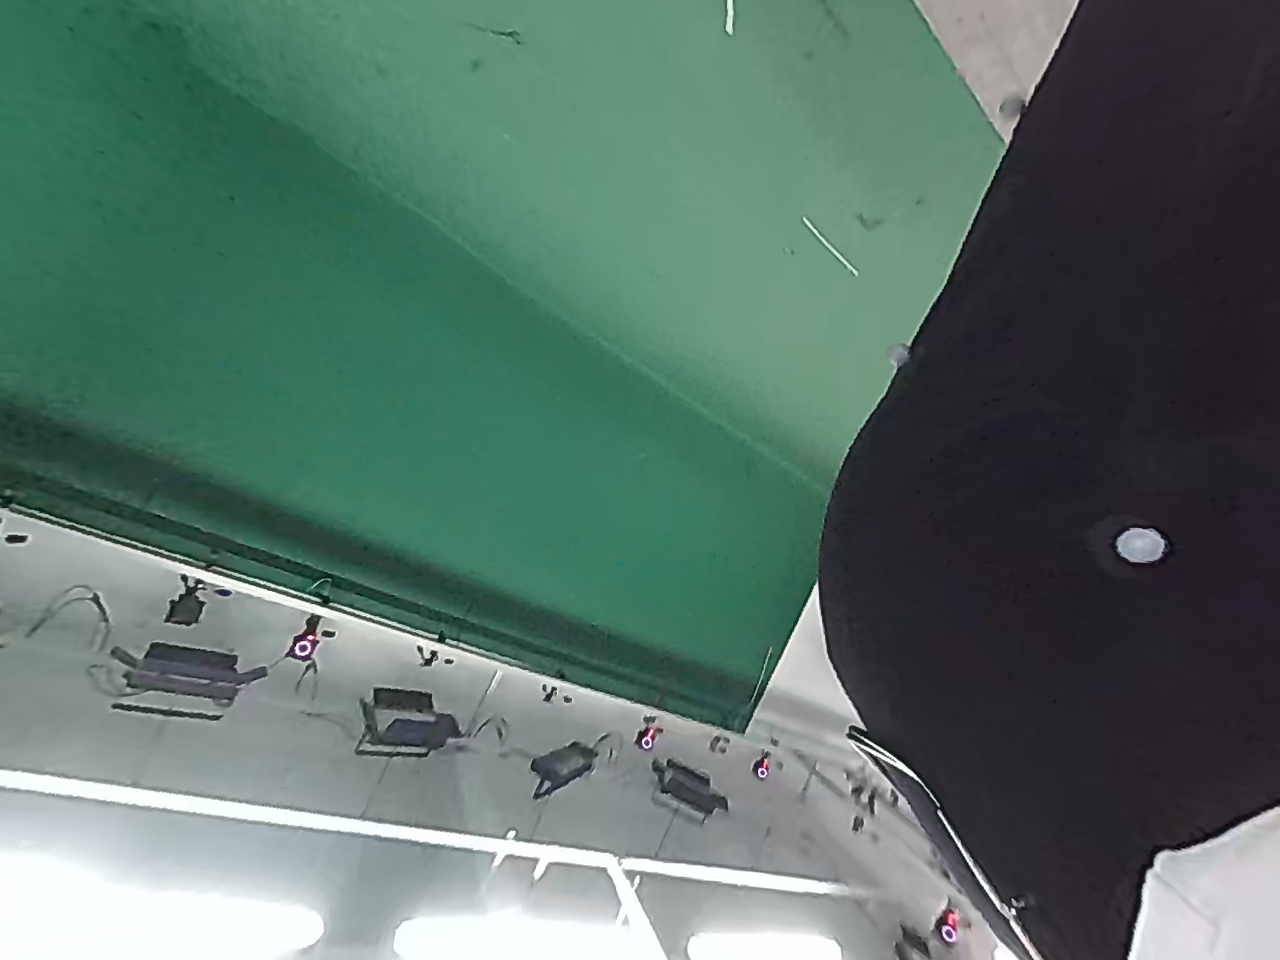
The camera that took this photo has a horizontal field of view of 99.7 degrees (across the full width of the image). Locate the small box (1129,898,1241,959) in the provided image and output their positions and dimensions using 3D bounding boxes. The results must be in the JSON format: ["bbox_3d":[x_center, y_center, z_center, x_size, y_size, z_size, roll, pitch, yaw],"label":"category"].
[{"bbox_3d":[1.519,1.308,1.507,0.179,0.176,0.168,27,178,-30],"label":"small box"}]
